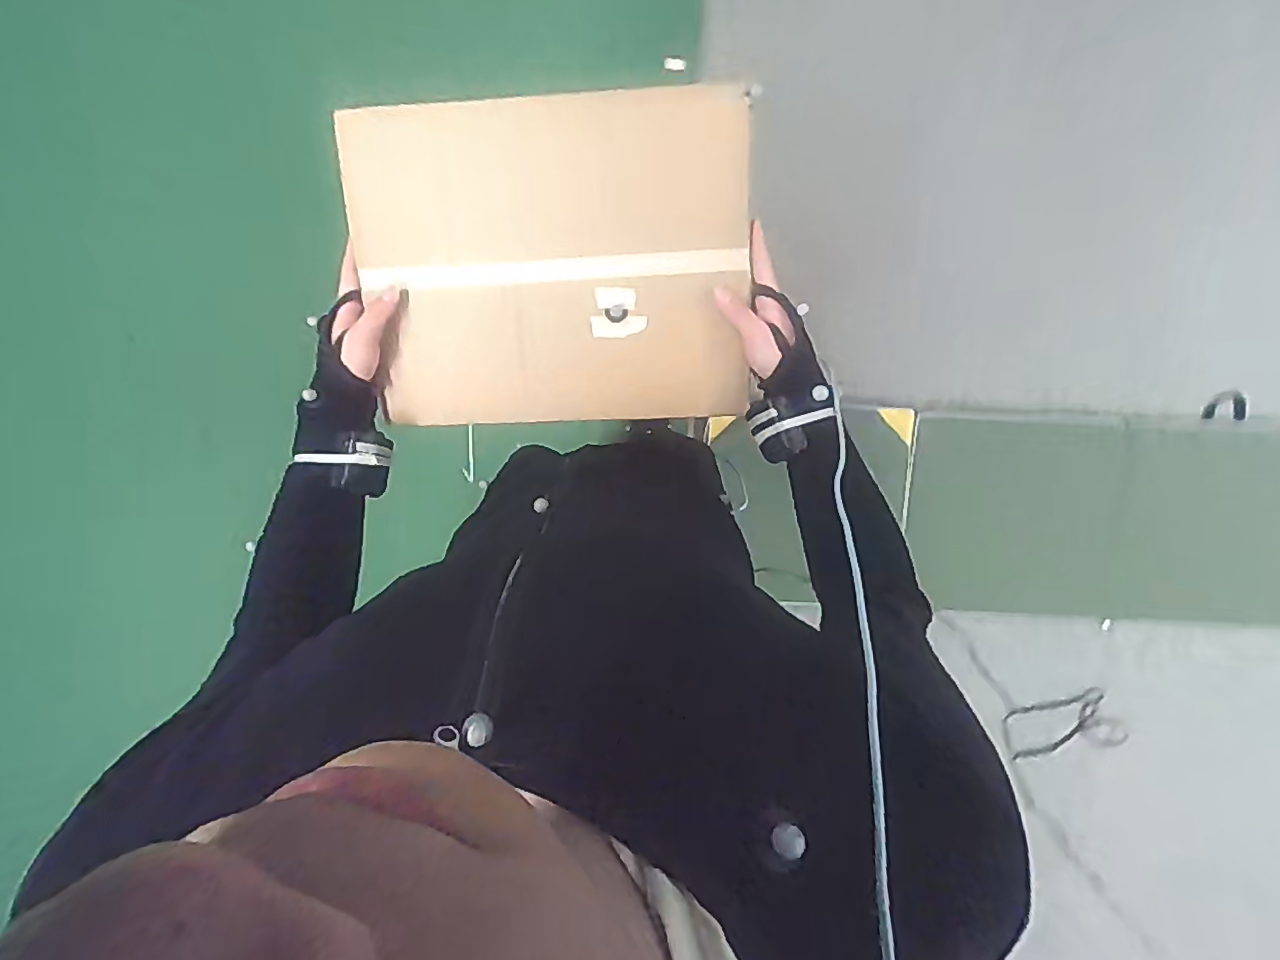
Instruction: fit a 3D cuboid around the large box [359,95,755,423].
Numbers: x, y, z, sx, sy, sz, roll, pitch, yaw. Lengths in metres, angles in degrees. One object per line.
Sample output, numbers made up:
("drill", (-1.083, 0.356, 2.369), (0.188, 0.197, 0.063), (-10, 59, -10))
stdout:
("large box", (-0.076, -0.255, 0.713), (0.408, 0.320, 0.320), (-1, 105, 3))
